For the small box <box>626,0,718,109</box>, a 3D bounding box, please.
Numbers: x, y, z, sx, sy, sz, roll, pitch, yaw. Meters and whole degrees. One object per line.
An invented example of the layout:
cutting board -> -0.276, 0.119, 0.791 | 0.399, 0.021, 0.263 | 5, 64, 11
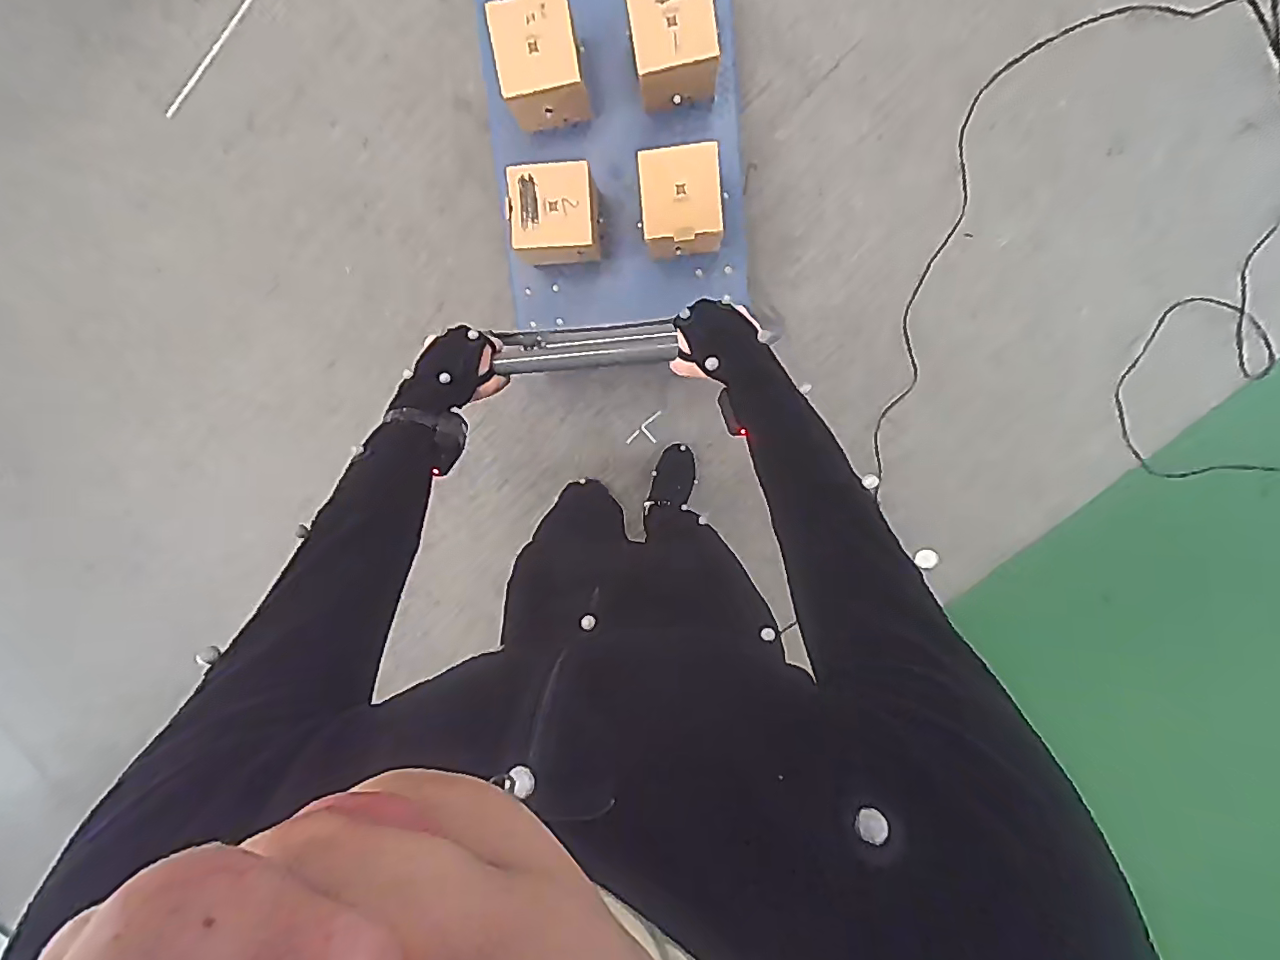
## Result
small box -> 0.064, -0.920, 1.127 | 0.168, 0.176, 0.179 | -9, 102, 6

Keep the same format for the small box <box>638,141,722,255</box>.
small box -> 0.086, -0.611, 1.190 | 0.168, 0.176, 0.179 | -5, 102, 5

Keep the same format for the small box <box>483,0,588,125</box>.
small box -> -0.212, -0.887, 1.150 | 0.168, 0.176, 0.179 | -8, 101, 4
